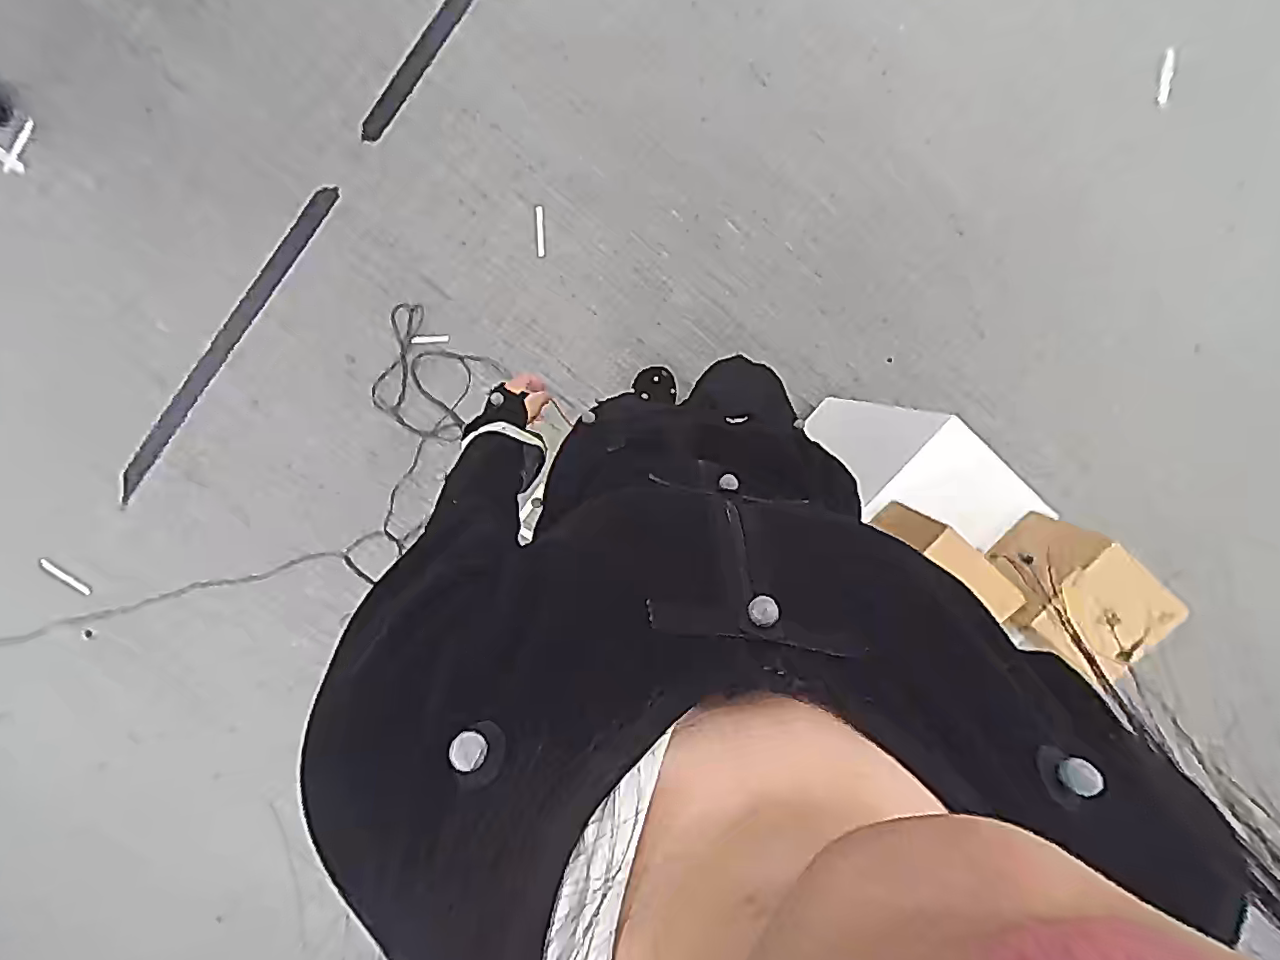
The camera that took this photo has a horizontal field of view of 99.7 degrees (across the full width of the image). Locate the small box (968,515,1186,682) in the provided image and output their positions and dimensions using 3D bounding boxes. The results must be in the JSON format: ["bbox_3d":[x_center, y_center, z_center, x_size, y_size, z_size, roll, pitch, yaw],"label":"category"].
[{"bbox_3d":[0.677,0.174,0.864,0.179,0.176,0.168,41,99,-8],"label":"small box"}]
